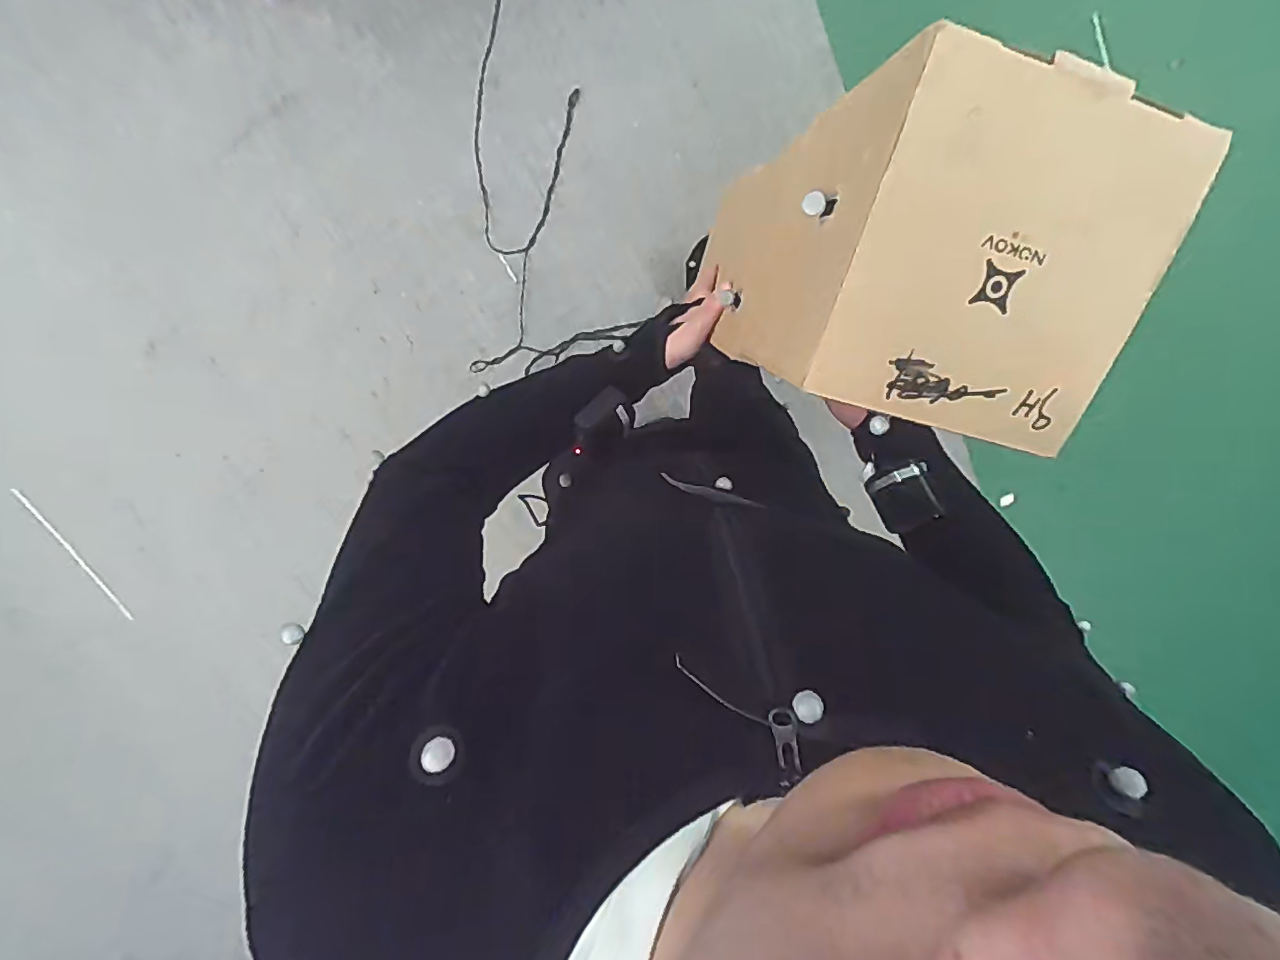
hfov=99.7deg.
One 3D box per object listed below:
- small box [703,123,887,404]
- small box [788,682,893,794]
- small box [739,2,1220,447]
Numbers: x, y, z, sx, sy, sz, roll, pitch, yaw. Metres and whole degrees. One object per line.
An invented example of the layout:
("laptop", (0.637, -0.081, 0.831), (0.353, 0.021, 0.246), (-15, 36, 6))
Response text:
("small box", (0.166, -0.191, 0.508), (0.168, 0.176, 0.179), (14, 108, -9))
("small box", (0.509, 0.652, 1.395), (0.168, 0.176, 0.179), (-29, 105, 3))
("small box", (0.178, -0.142, 0.351), (0.168, 0.176, 0.179), (13, 109, -7))
